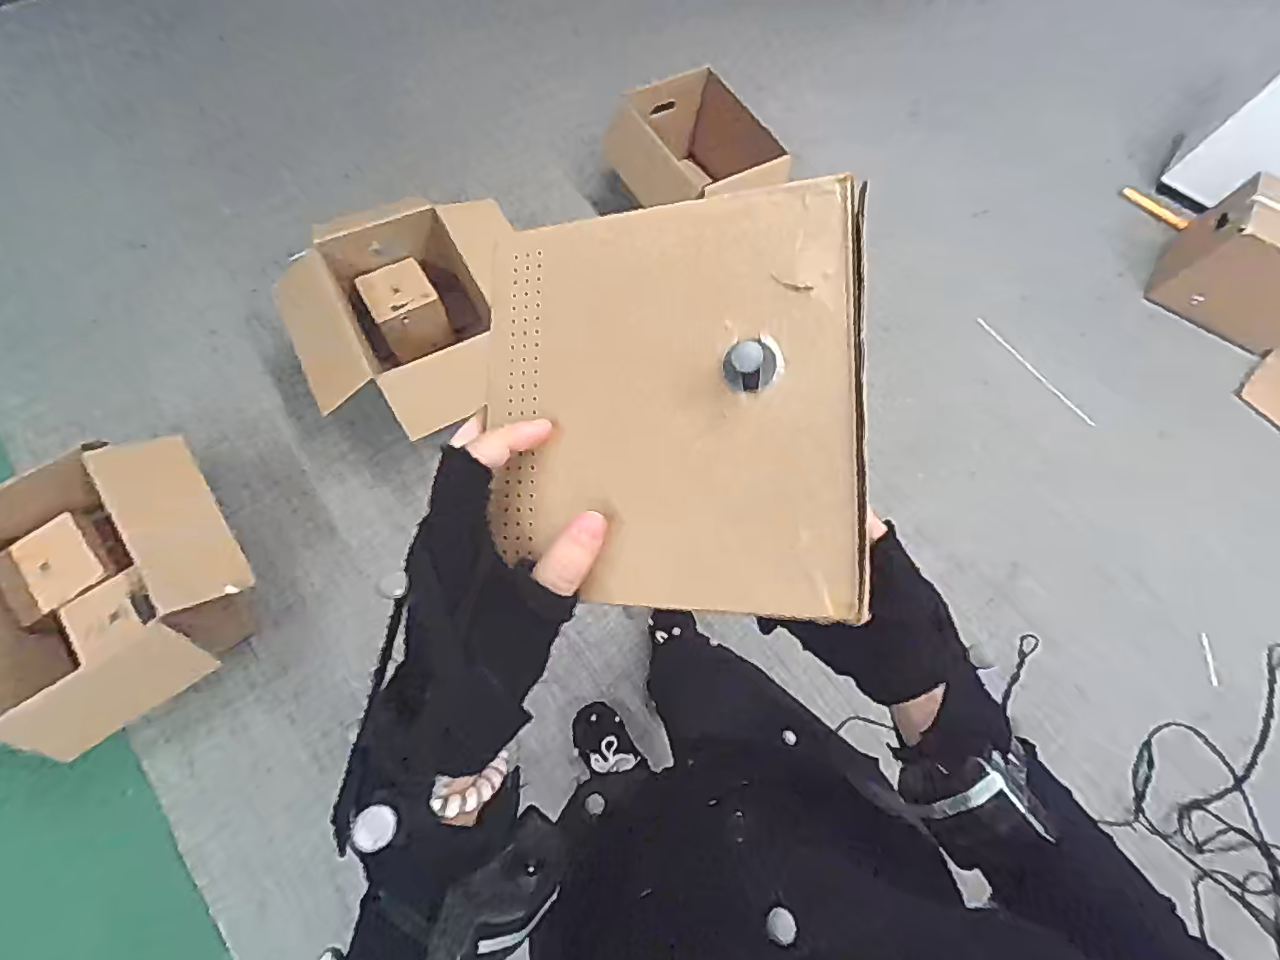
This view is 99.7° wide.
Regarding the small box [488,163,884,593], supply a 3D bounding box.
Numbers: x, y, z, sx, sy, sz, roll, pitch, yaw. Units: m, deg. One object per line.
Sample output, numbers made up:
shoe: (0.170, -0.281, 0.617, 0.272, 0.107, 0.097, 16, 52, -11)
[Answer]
small box: (0.031, -0.032, 0.303, 0.176, 0.168, 0.179, 0, 83, 18)
